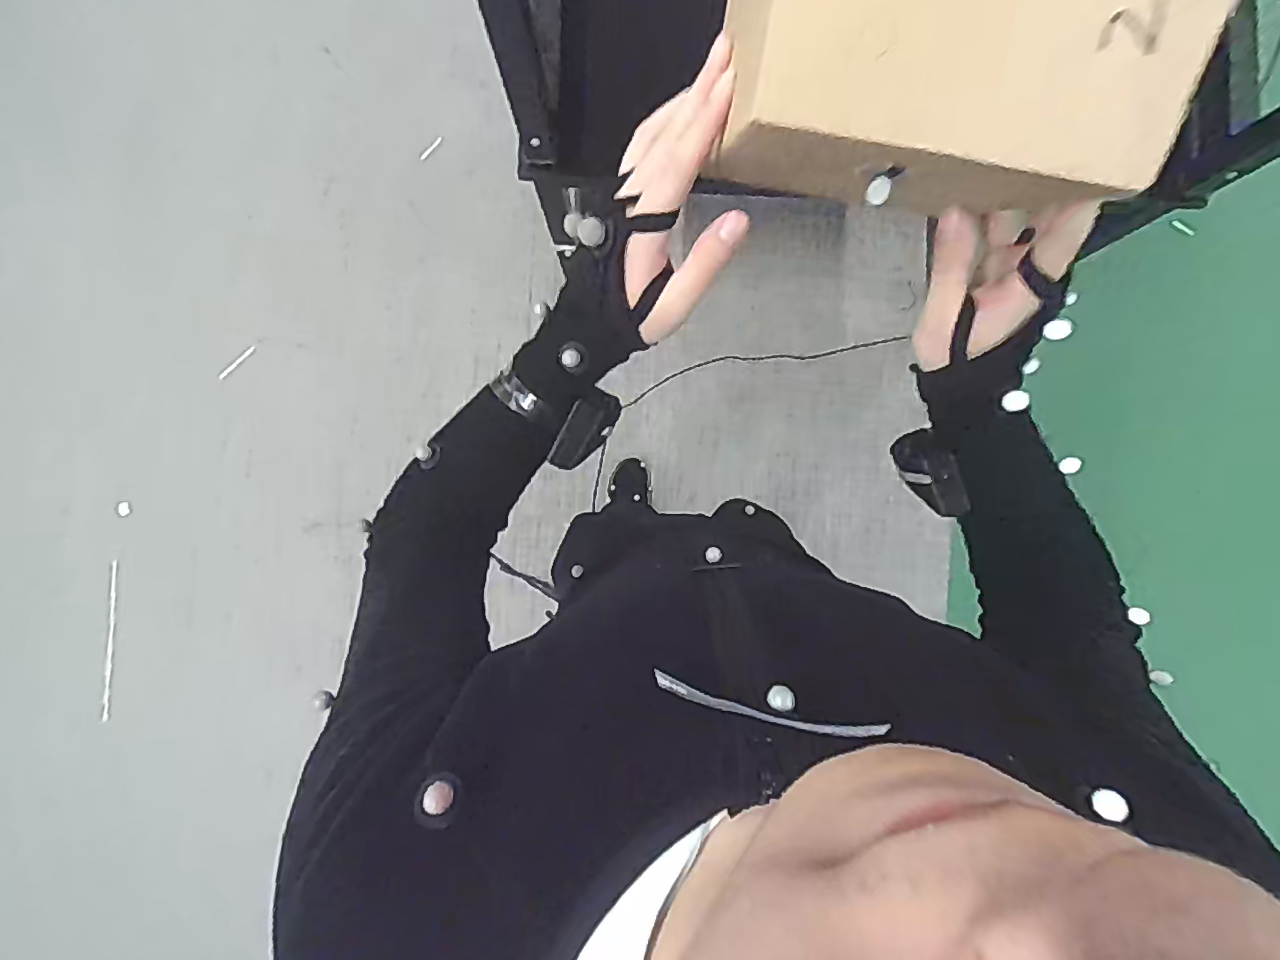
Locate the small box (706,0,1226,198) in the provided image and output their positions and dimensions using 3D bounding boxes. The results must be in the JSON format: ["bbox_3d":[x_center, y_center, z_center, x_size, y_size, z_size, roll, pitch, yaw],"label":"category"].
[{"bbox_3d":[0.136,-0.242,0.260,0.179,0.176,0.168,8,114,-4],"label":"small box"}]
